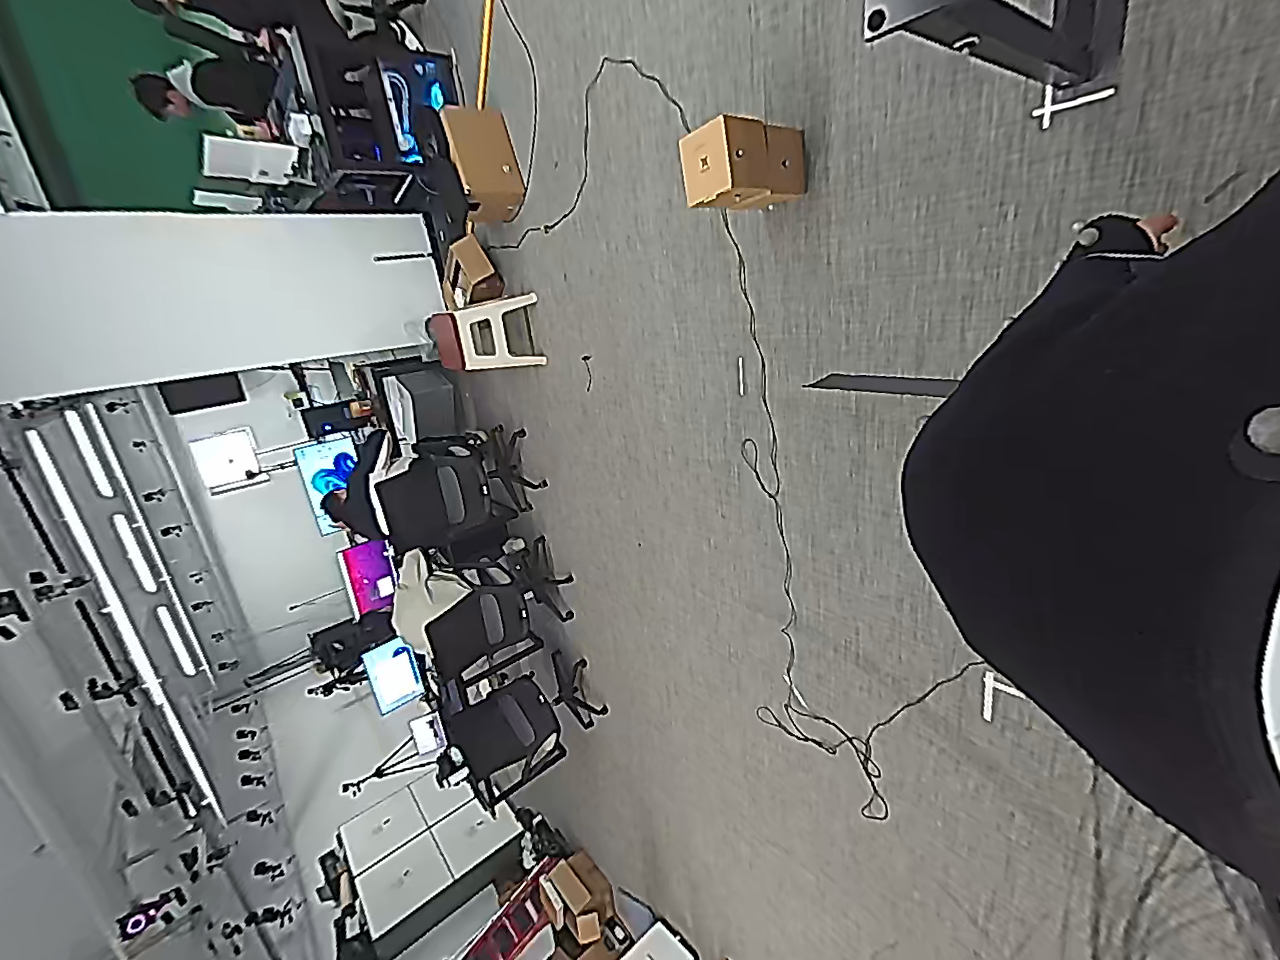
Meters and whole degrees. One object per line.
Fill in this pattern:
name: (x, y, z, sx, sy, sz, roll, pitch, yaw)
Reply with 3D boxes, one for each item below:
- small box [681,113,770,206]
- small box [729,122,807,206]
small box: (0.239, -0.868, 1.480, 0.168, 0.176, 0.179, 6, 111, 51)
small box: (0.366, -0.909, 1.573, 0.168, 0.176, 0.179, 12, 117, 51)
